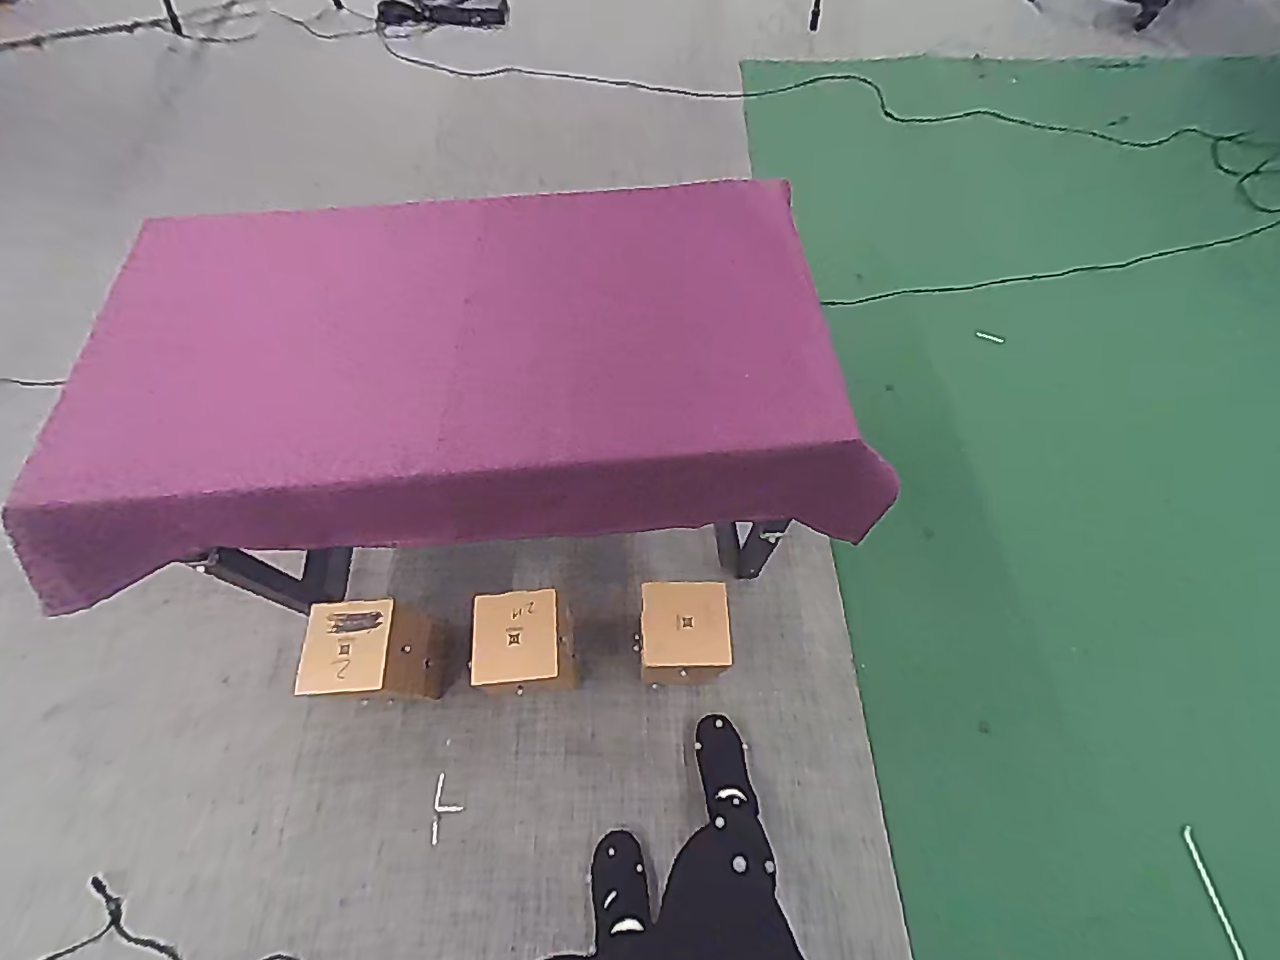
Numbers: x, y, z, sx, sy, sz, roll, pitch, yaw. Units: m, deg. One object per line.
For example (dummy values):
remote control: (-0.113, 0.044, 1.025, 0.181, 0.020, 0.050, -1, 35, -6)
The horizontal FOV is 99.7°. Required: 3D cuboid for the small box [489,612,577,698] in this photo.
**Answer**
small box: (-0.249, 0.422, 1.291, 0.179, 0.176, 0.168, -3, 63, -2)
